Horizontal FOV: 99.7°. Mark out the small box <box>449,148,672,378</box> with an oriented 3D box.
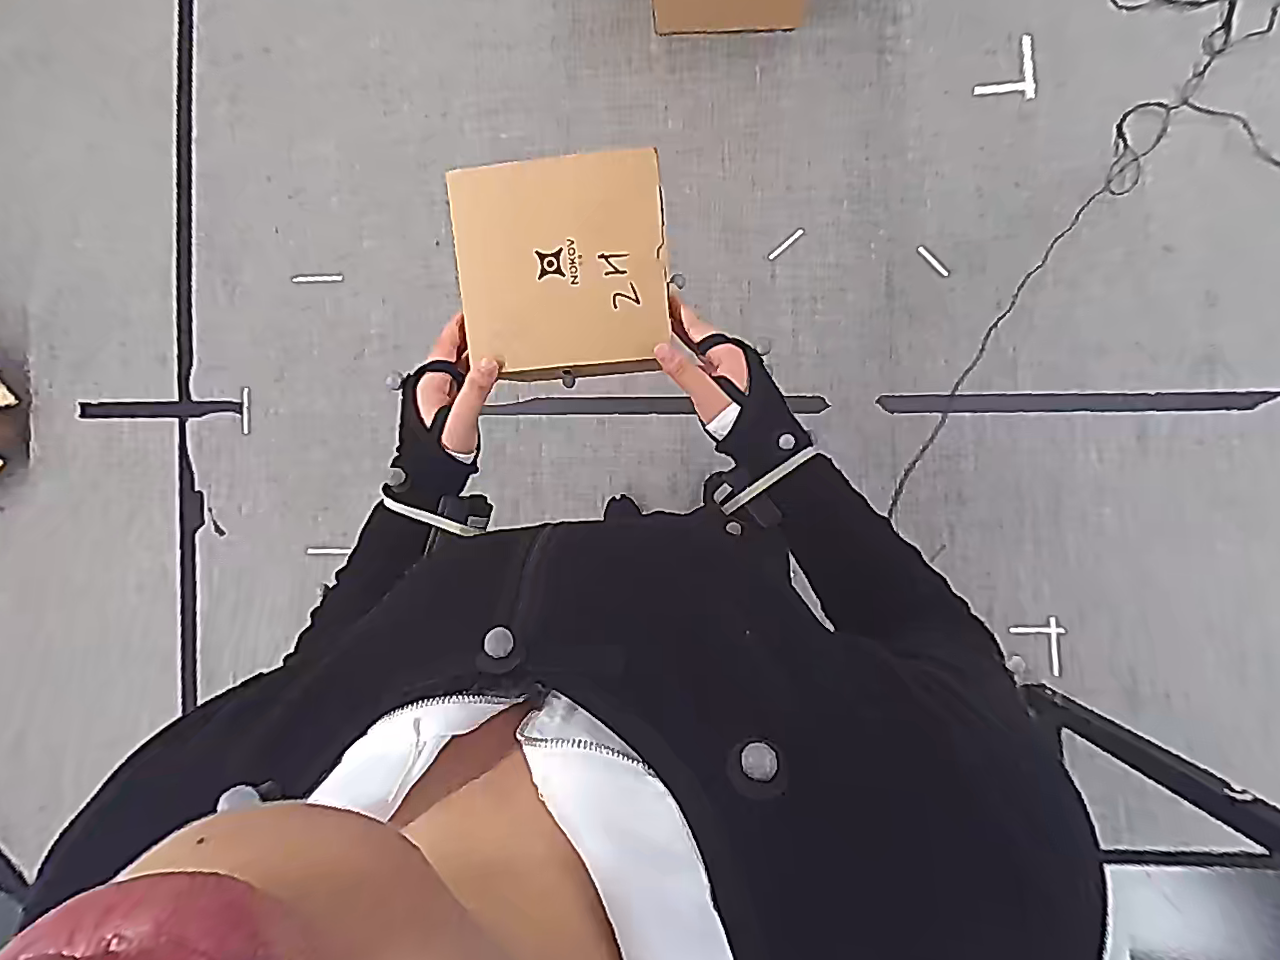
[{"bbox_3d":[-0.061,-0.190,0.526,0.179,0.176,0.168,-4,99,4],"label":"small box"}]
